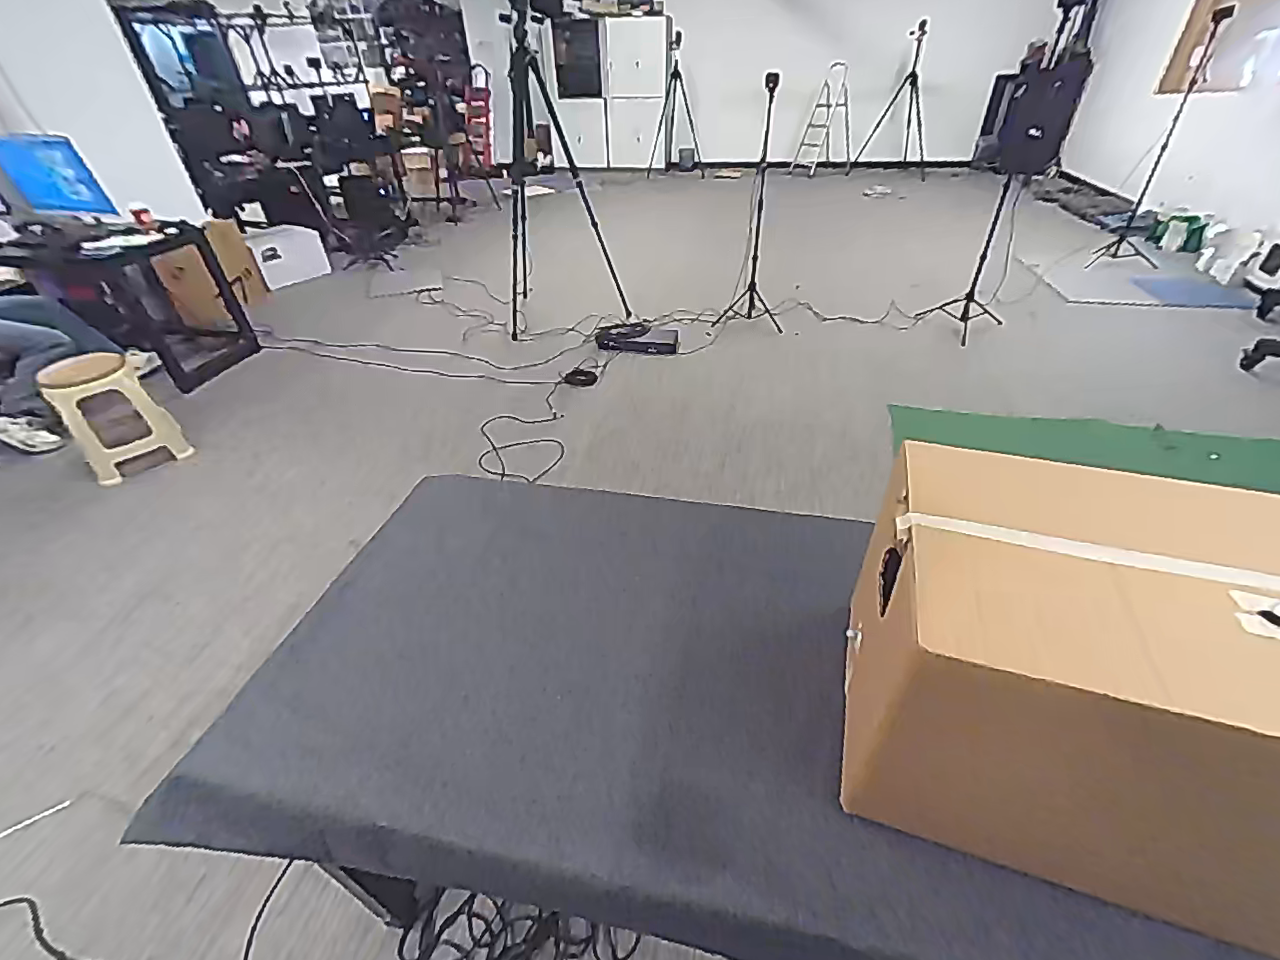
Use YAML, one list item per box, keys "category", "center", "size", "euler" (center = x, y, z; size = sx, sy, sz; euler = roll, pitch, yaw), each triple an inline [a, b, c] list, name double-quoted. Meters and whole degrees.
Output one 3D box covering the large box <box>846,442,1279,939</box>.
- category: "large box"
  center: [0.461, 0.194, 0.580]
  size: [0.408, 0.320, 0.320]
  euler: [11, 40, 15]
